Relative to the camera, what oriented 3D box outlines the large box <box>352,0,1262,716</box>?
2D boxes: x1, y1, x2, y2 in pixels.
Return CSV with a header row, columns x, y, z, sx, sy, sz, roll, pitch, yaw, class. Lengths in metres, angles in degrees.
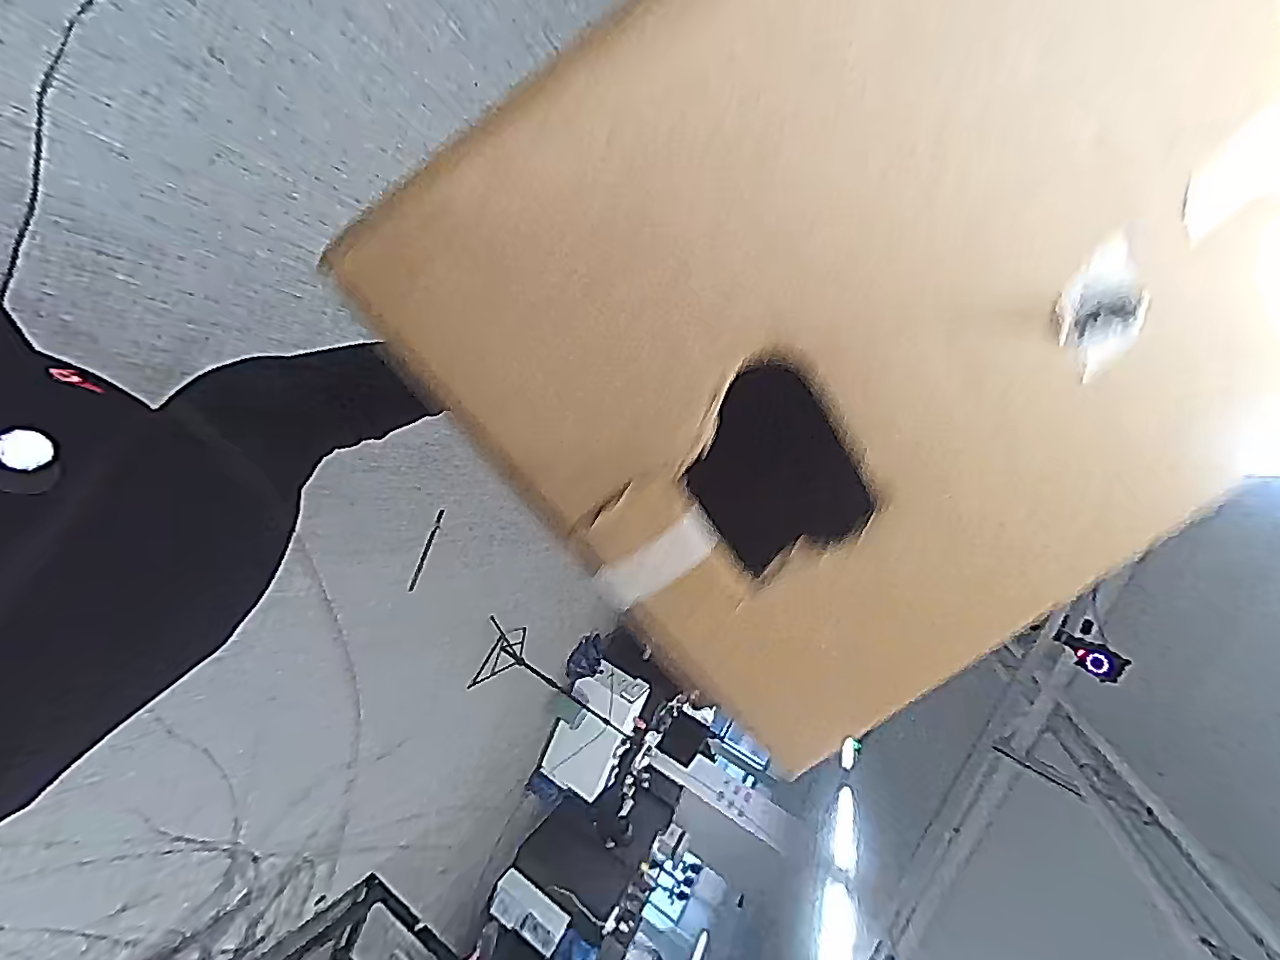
x,y,z,sx,sy,sz,roll,pitch,yaw,class
0.075,-0.133,0.404,0.320,0.320,0.408,-36,-156,4,large box
